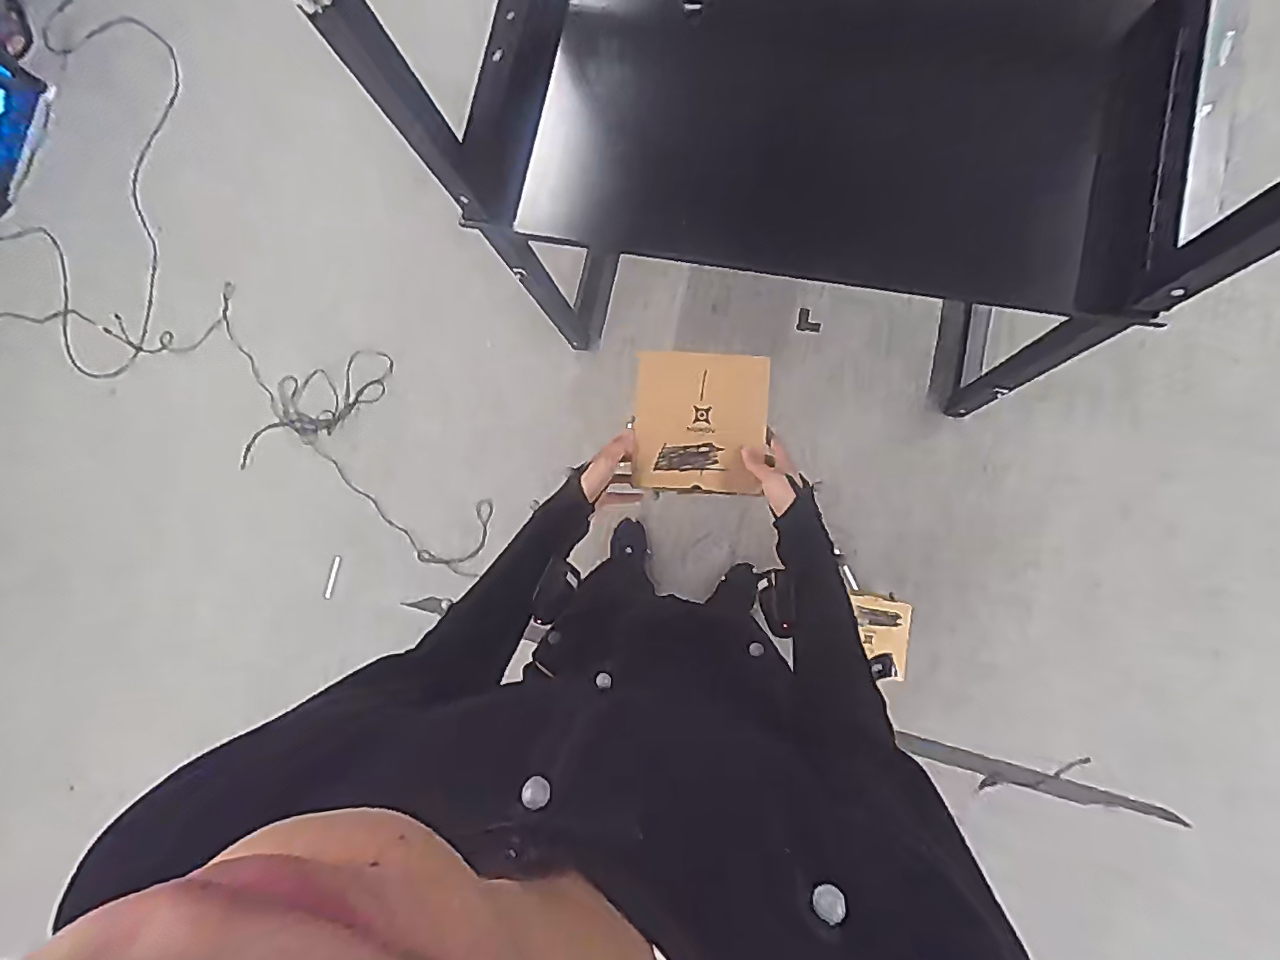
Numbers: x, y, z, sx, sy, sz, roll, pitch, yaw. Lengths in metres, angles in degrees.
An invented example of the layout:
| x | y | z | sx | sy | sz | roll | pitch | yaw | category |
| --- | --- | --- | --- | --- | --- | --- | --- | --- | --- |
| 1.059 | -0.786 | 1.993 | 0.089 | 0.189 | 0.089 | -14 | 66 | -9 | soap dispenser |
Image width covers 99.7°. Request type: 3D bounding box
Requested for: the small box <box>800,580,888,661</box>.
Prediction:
| x | y | z | sx | sy | sz | roll | pitch | yaw | category |
| --- | --- | --- | --- | --- | --- | --- | --- | --- | --- |
| 0.544 | 0.371 | 1.462 | 0.179 | 0.176 | 0.168 | 11 | 86 | 10 | small box |

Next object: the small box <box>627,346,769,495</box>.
| x | y | z | sx | sy | sz | roll | pitch | yaw | category |
| --- | --- | --- | --- | --- | --- | --- | --- | --- | --- |
| 0.074 | -0.073 | 0.749 | 0.168 | 0.176 | 0.179 | 4 | 88 | 1 | small box |
